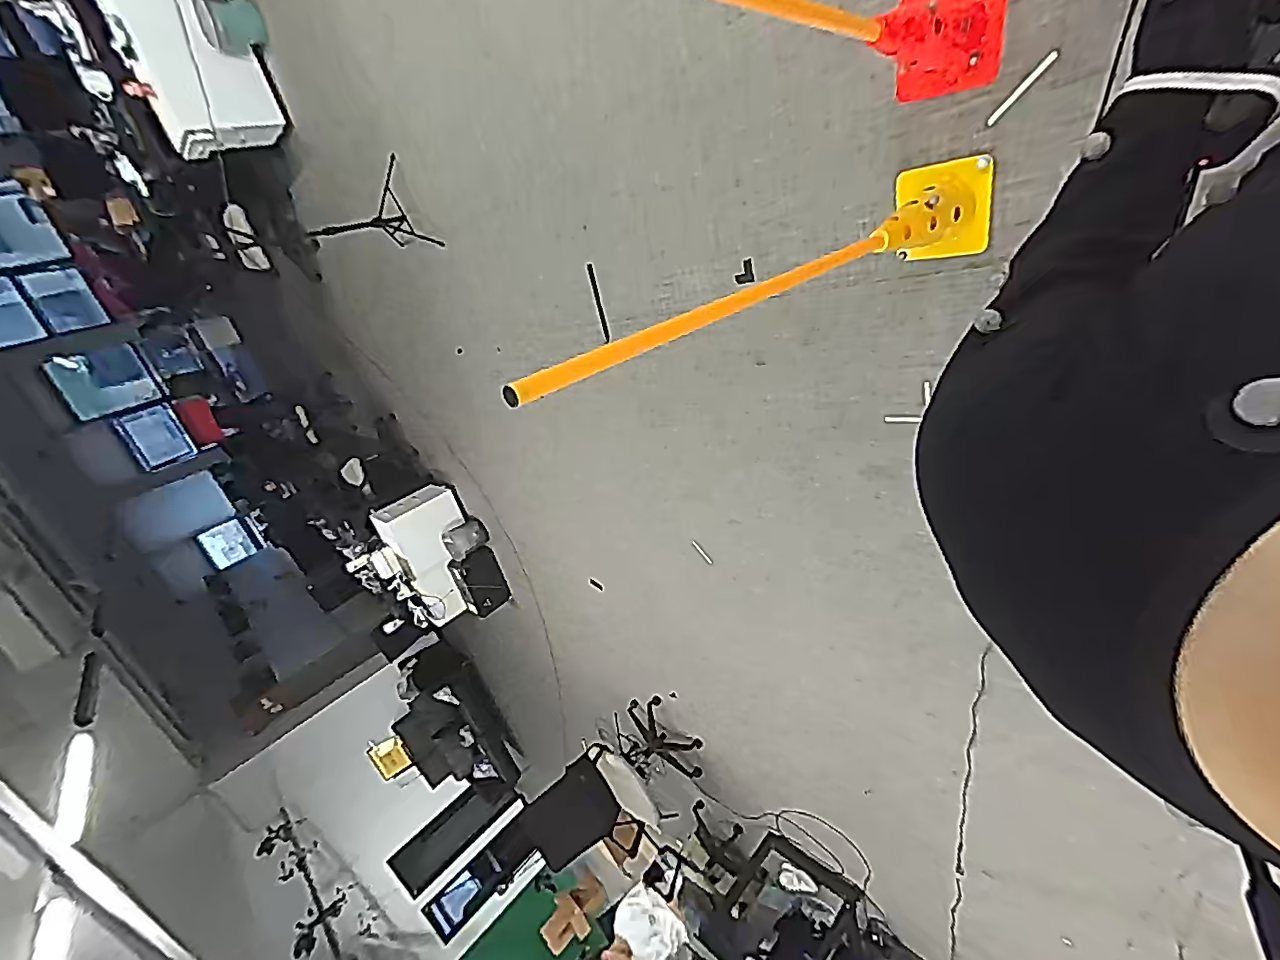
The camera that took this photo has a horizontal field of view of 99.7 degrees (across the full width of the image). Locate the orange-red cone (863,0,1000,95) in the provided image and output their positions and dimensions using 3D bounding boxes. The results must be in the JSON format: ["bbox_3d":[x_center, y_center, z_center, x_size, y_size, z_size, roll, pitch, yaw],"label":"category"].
[{"bbox_3d":[0.500,-0.834,0.991,0.198,0.360,0.199,18,129,40],"label":"orange-red cone"}]
